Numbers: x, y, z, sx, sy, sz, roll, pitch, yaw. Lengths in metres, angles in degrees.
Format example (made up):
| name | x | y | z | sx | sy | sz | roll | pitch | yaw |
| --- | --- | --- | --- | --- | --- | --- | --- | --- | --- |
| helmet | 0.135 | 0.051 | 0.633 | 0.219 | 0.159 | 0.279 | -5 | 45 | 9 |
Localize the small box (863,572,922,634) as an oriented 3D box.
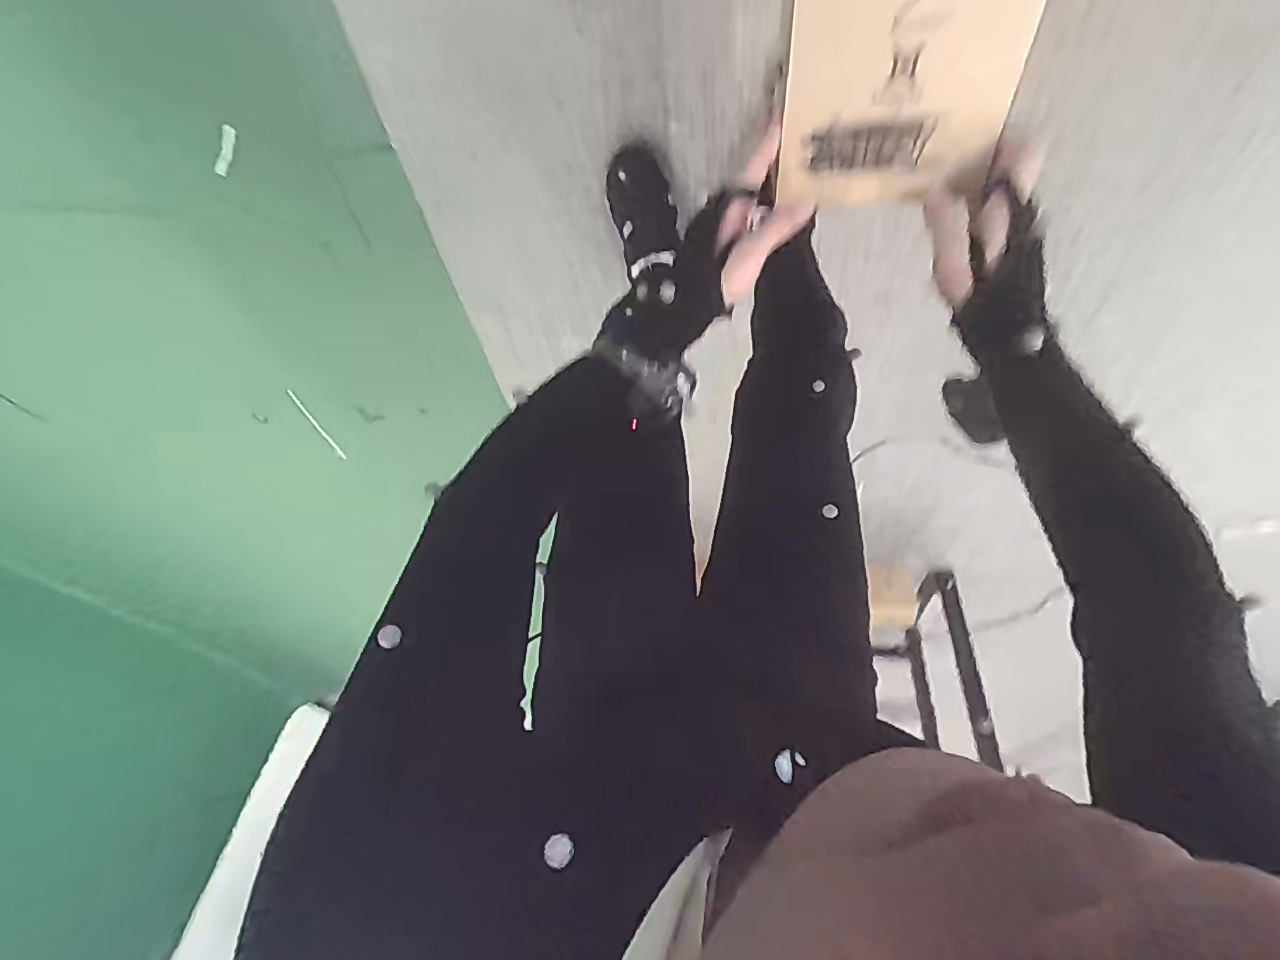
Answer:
| name | x | y | z | sx | sy | sz | roll | pitch | yaw |
| --- | --- | --- | --- | --- | --- | --- | --- | --- | --- |
| small box | 0.900 | 0.441 | 1.942 | 0.168 | 0.176 | 0.179 | -5 | 141 | 17 |
